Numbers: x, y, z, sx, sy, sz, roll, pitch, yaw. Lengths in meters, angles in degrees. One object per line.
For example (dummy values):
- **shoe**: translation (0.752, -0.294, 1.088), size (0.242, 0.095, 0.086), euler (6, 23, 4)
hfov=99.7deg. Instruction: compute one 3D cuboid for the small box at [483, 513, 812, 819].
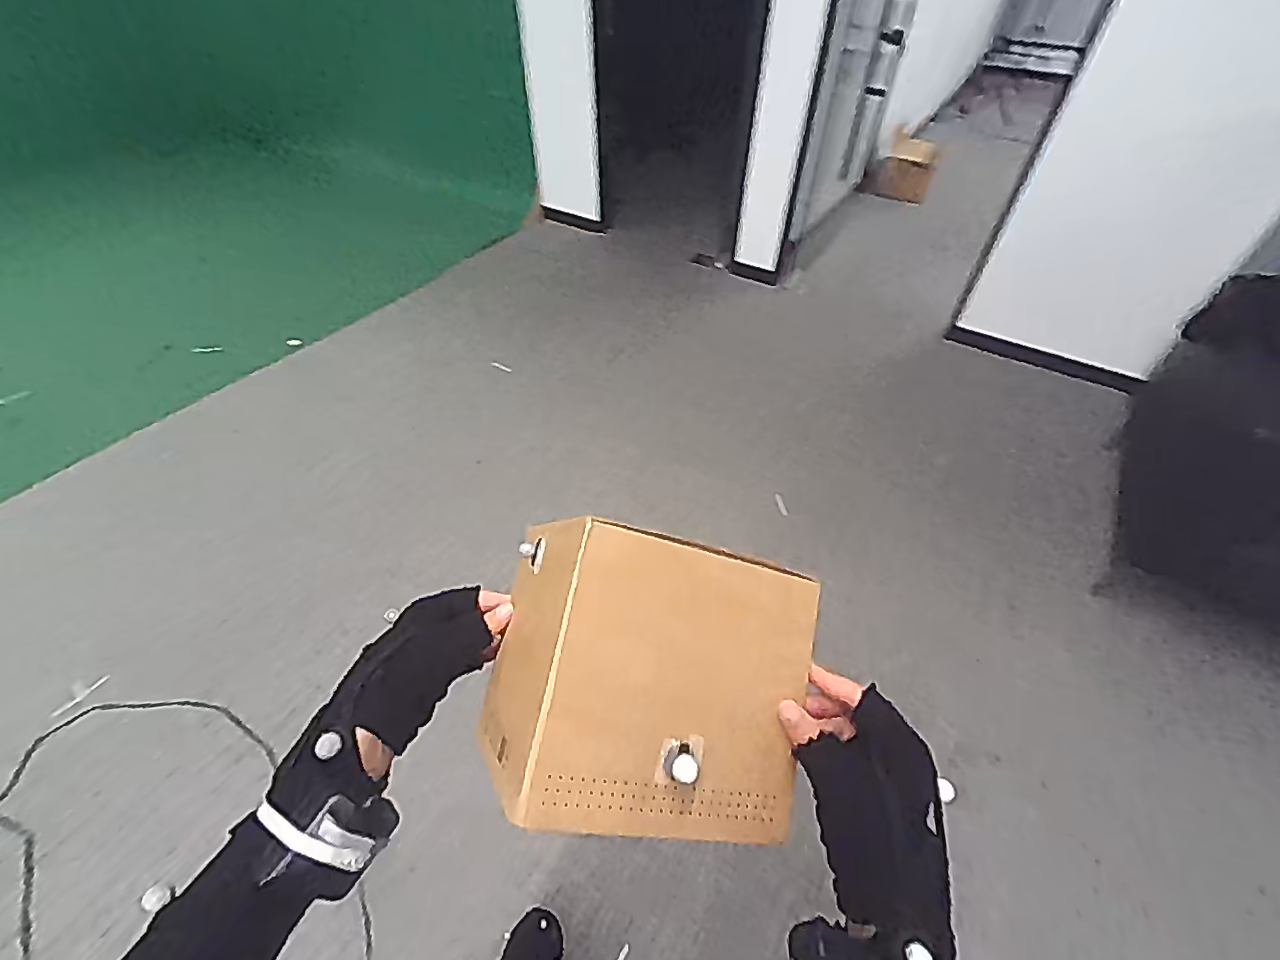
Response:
- **small box**: translation (-0.003, 0.129, 0.405), size (0.179, 0.168, 0.176), euler (16, 77, -20)
